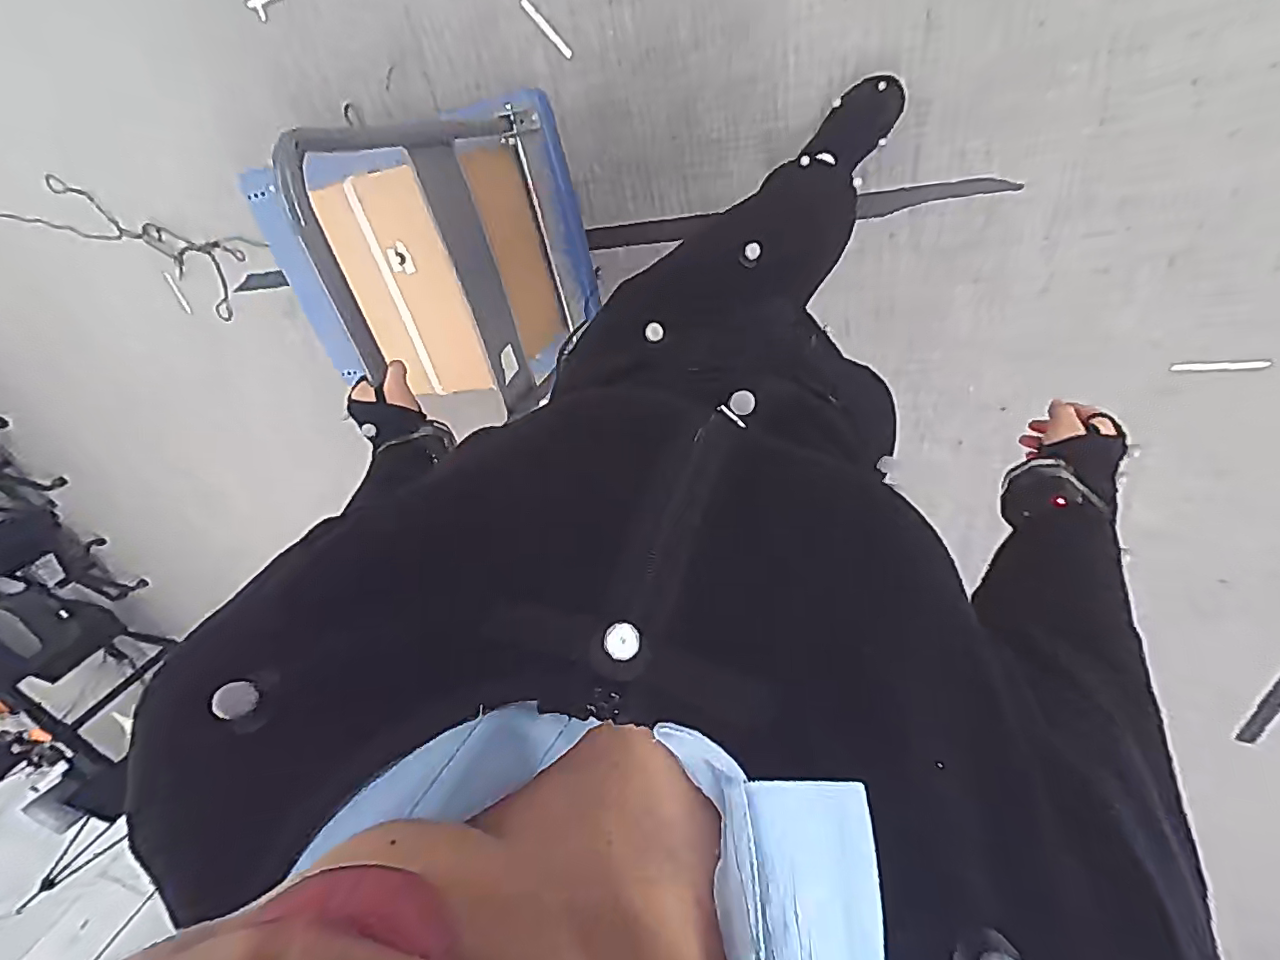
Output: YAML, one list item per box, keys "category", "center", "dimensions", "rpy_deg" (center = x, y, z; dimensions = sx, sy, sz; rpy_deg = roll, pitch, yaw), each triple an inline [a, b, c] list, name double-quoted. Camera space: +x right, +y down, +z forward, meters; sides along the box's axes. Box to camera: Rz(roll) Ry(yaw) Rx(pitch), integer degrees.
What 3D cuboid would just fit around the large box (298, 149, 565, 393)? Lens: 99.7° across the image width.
- category: "large box"
  center: [-0.407, -0.440, 1.162]
  dimensions: [0.320, 0.320, 0.408]
  rpy_deg: [-1, 123, 20]
